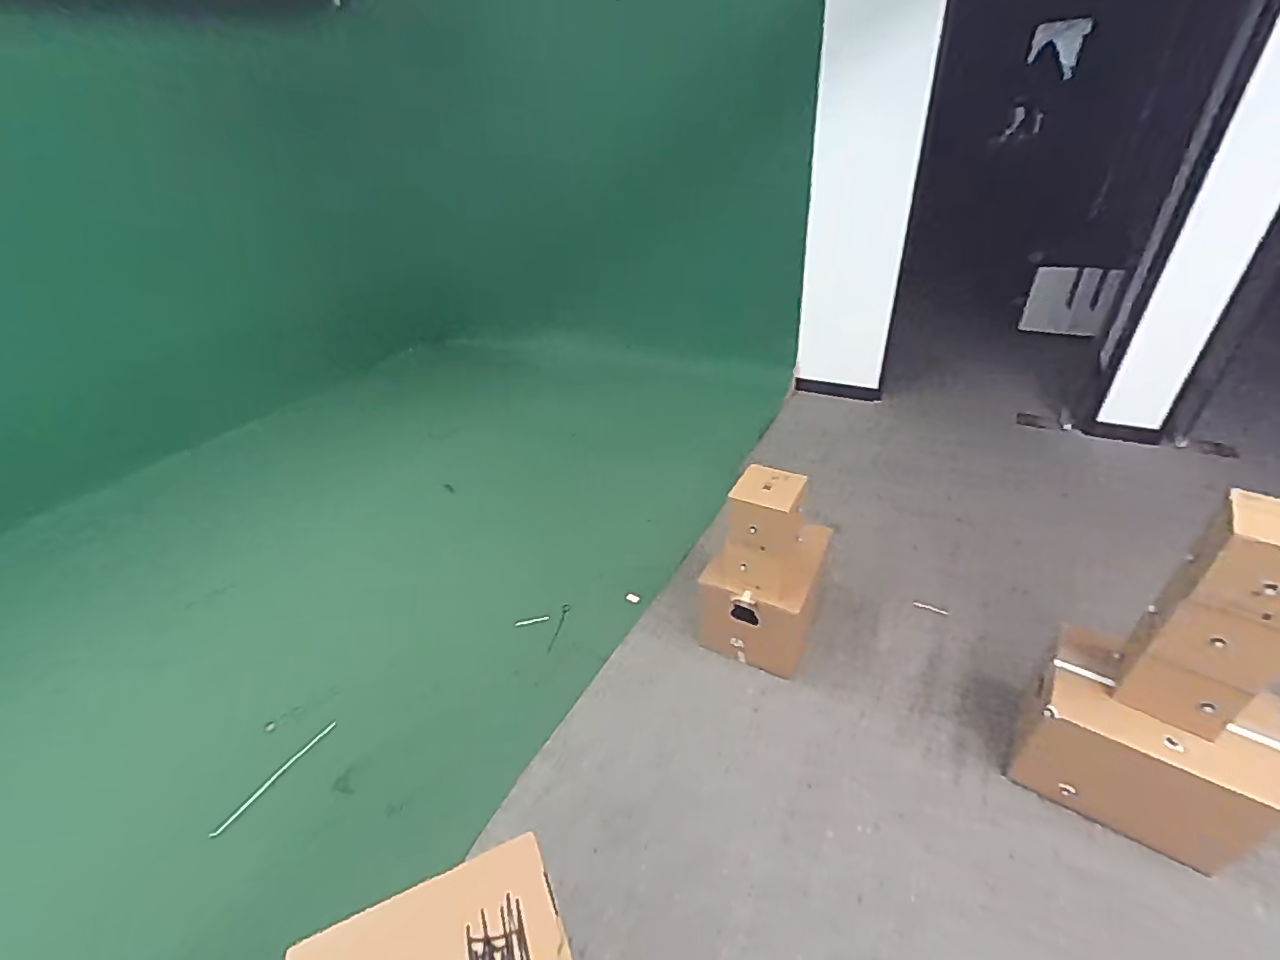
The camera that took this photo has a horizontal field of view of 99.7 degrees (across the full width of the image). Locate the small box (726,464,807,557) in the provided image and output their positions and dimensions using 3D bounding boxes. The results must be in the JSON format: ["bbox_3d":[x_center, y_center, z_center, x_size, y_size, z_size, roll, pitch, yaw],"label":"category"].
[{"bbox_3d":[0.349,0.085,1.494,0.168,0.176,0.179,17,40,28],"label":"small box"}]

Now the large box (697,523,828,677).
[{"bbox_3d":[0.410,0.365,1.800,0.320,0.320,0.408,15,39,26],"label":"large box"}]

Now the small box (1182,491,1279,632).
[{"bbox_3d":[1.155,0.153,1.001,0.168,0.176,0.179,23,43,34],"label":"small box"}]

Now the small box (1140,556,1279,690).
[{"bbox_3d":[1.165,0.290,1.090,0.179,0.176,0.168,23,42,35],"label":"small box"}]

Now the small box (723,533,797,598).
[{"bbox_3d":[0.356,0.216,1.594,0.168,0.176,0.179,16,40,28],"label":"small box"}]

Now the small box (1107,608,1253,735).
[{"bbox_3d":[1.177,0.423,1.186,0.179,0.176,0.168,22,42,34],"label":"small box"}]
